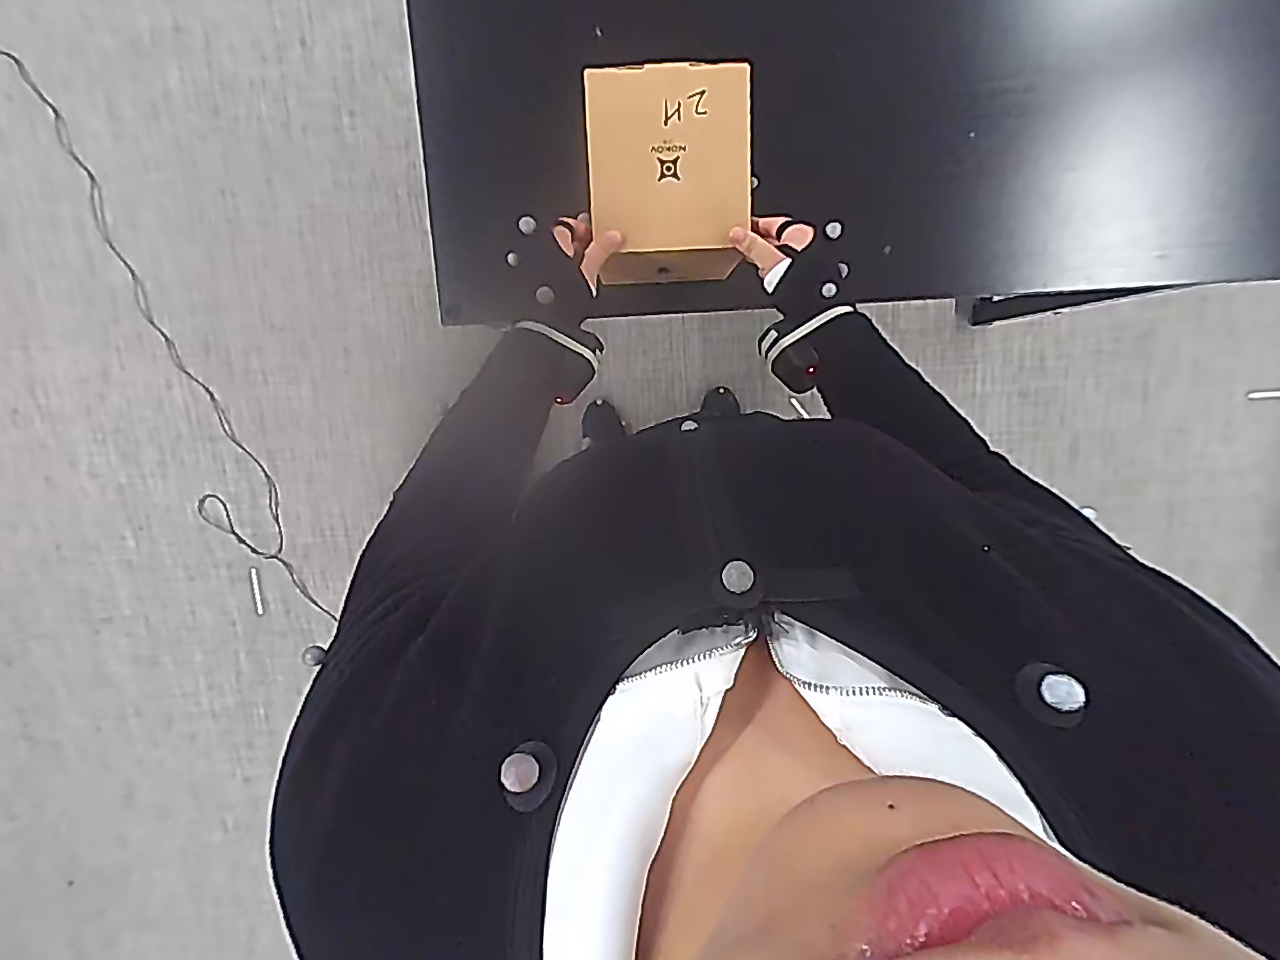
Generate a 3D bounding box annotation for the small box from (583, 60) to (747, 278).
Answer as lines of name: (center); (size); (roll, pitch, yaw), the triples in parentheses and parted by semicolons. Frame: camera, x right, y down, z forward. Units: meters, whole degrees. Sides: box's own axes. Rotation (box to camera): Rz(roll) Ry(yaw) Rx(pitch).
small box: (0.028, -0.337, 0.625); (0.168, 0.176, 0.179); (-3, 99, 0)
